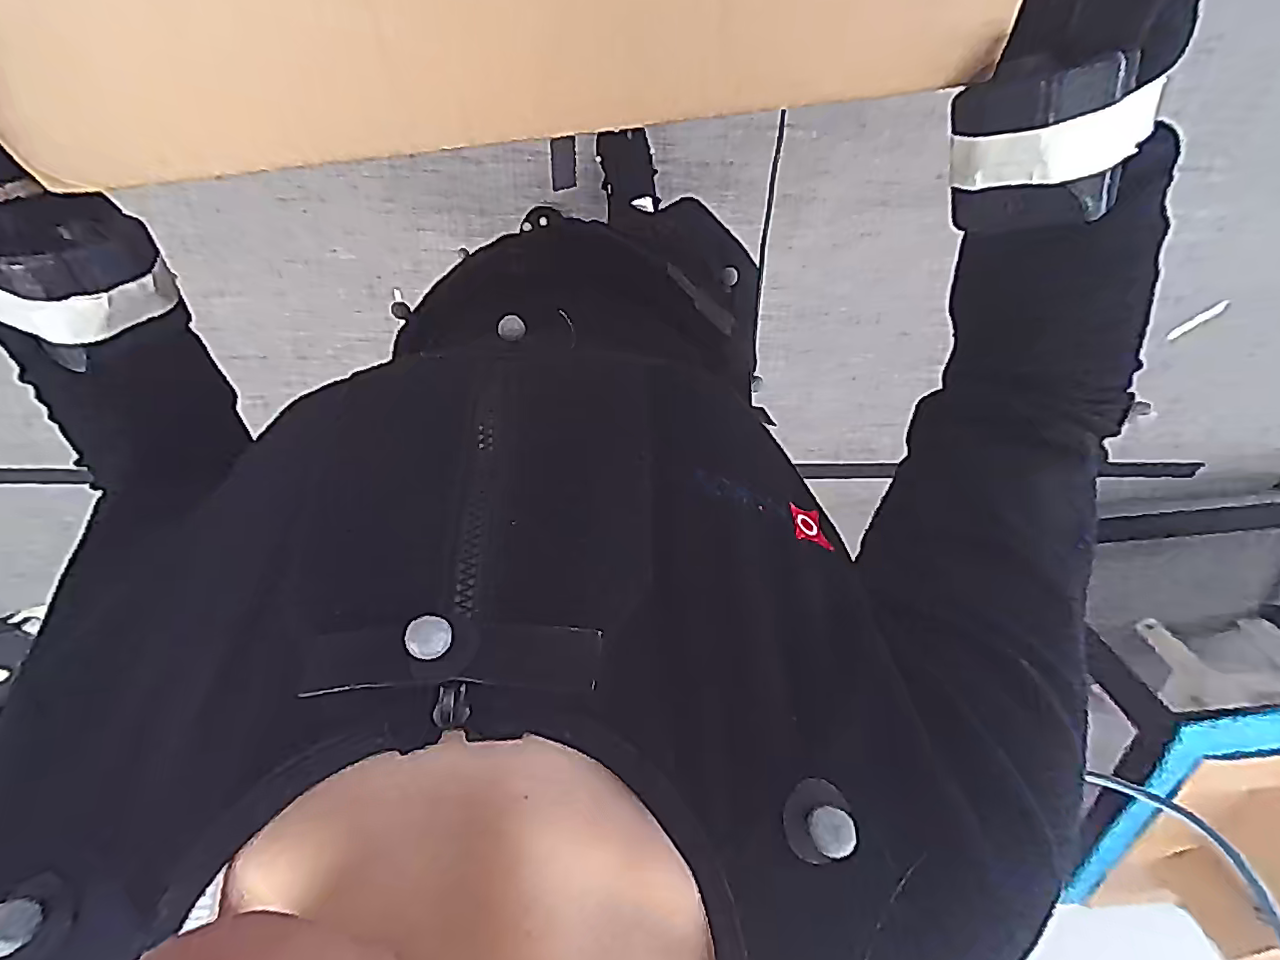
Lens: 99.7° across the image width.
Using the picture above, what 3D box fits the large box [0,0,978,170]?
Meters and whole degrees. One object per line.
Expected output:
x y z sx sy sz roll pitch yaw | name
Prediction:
-0.081 -0.369 0.204 0.408 0.320 0.320 -6 142 1 | large box
